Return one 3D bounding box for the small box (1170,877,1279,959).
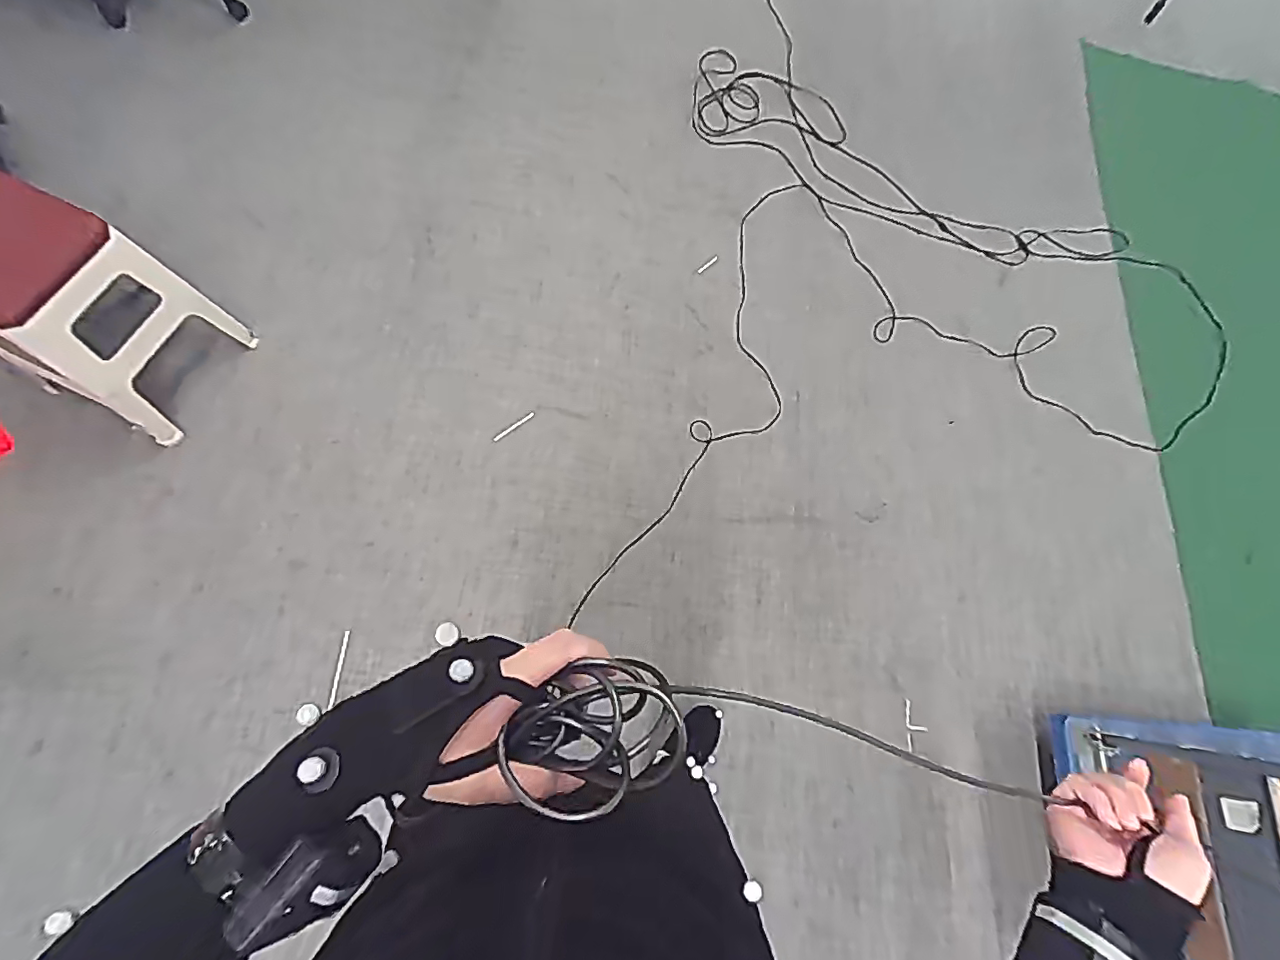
[{"bbox_3d":[1.366,1.023,1.215,0.179,0.176,0.168,8,72,-4],"label":"small box"}]

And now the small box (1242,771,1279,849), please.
[{"bbox_3d":[1.638,0.818,1.316,0.179,0.176,0.168,4,73,-7],"label":"small box"}]
